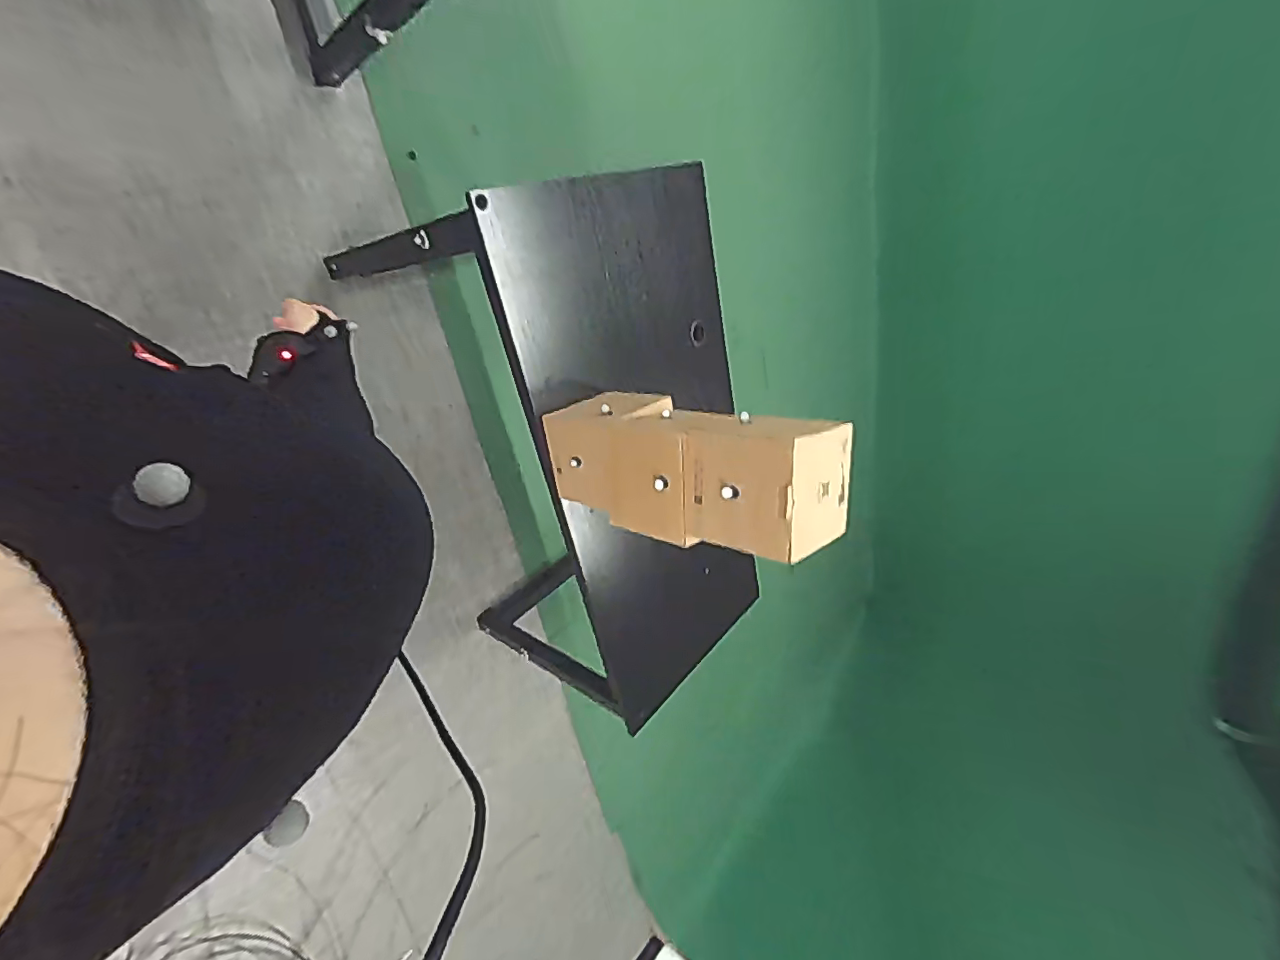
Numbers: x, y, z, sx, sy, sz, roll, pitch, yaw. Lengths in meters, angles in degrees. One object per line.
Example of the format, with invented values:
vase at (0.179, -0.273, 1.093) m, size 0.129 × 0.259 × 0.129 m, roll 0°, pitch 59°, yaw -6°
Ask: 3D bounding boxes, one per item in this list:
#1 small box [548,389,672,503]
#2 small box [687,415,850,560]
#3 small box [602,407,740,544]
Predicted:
small box at (-0.053, -0.066, 1.000) m, size 0.179 × 0.176 × 0.168 m, roll -28°, pitch 120°, yaw -40°
small box at (0.182, -0.001, 0.783) m, size 0.179 × 0.176 × 0.168 m, roll -15°, pitch 110°, yaw -44°
small box at (0.054, -0.018, 0.885) m, size 0.168 × 0.176 × 0.179 m, roll -19°, pitch 113°, yaw -43°
